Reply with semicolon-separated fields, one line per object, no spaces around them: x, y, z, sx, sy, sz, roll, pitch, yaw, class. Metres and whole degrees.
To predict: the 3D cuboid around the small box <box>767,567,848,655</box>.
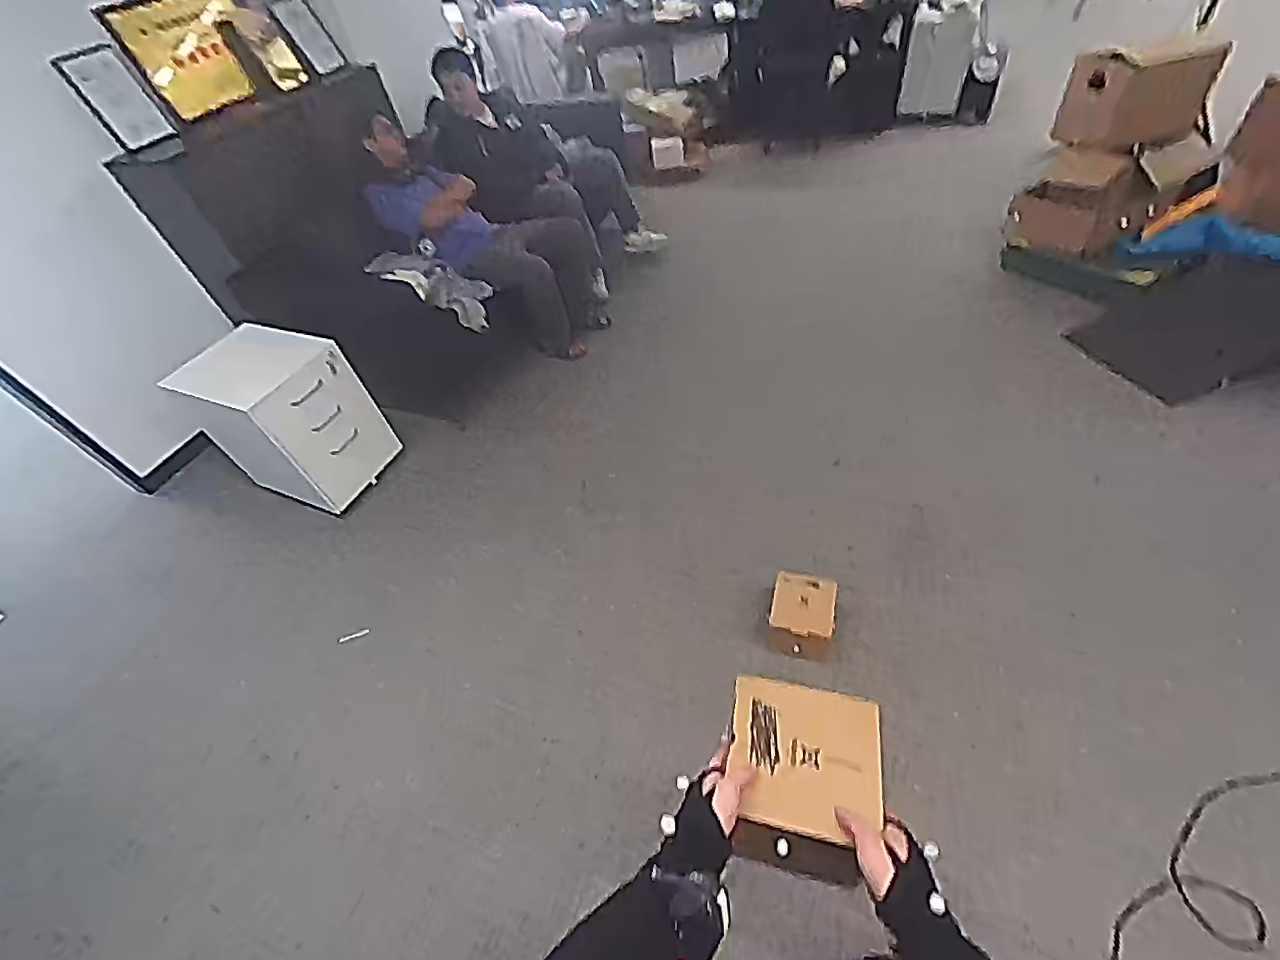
0.479;0.383;1.562;0.179;0.176;0.168;-15;45;0;small box

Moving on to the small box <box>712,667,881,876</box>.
0.197;0.373;0.693;0.179;0.176;0.168;10;46;18;small box
